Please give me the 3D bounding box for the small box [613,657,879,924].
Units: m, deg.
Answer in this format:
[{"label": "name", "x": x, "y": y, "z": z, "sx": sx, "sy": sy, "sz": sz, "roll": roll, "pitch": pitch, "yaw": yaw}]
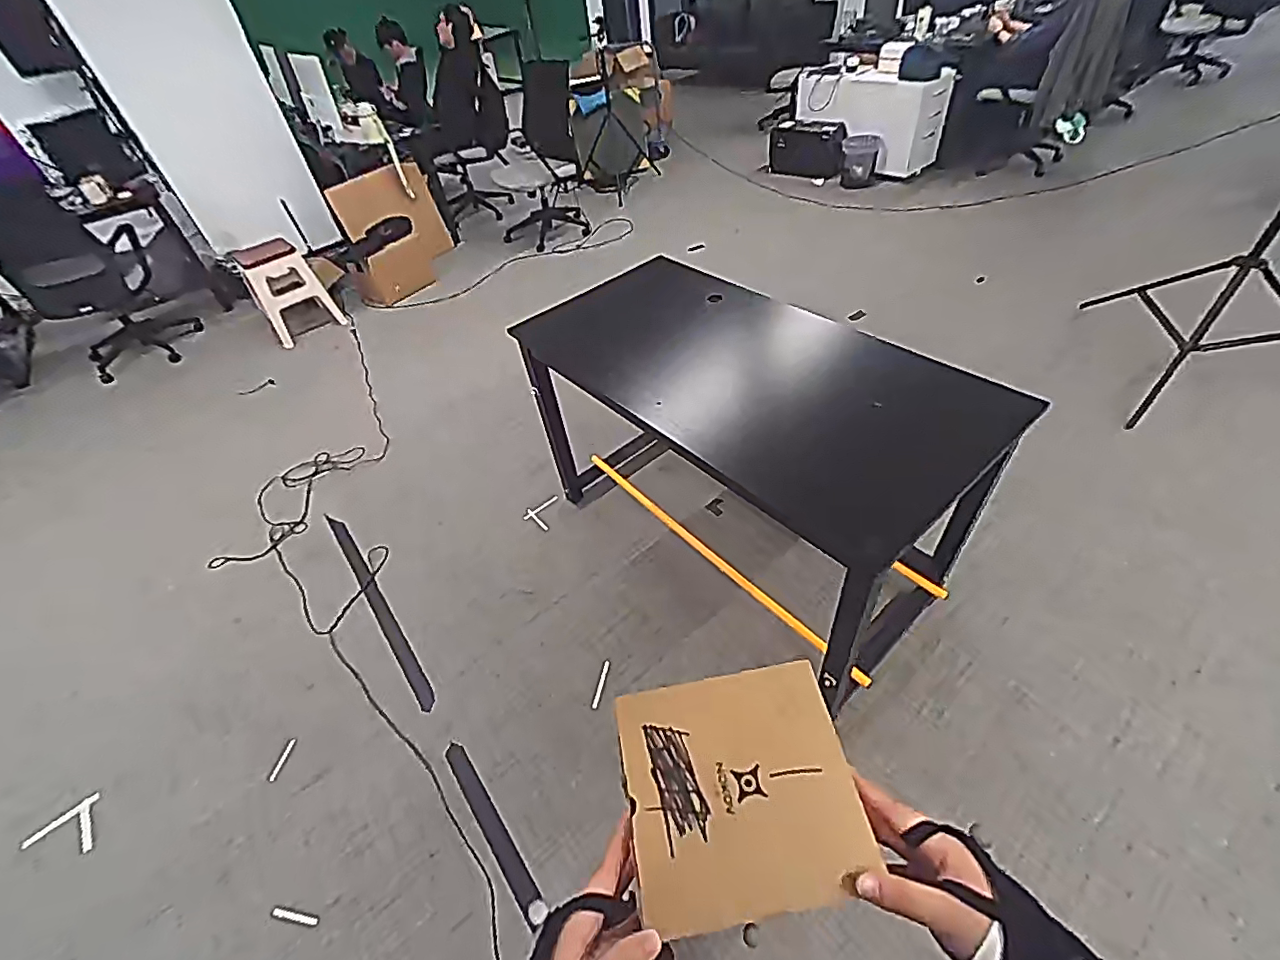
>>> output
[{"label": "small box", "x": 0.079, "y": 0.283, "z": 0.487, "sx": 0.179, "sy": 0.176, "sz": 0.168, "roll": -10, "pitch": 51, "yaw": -3}]
